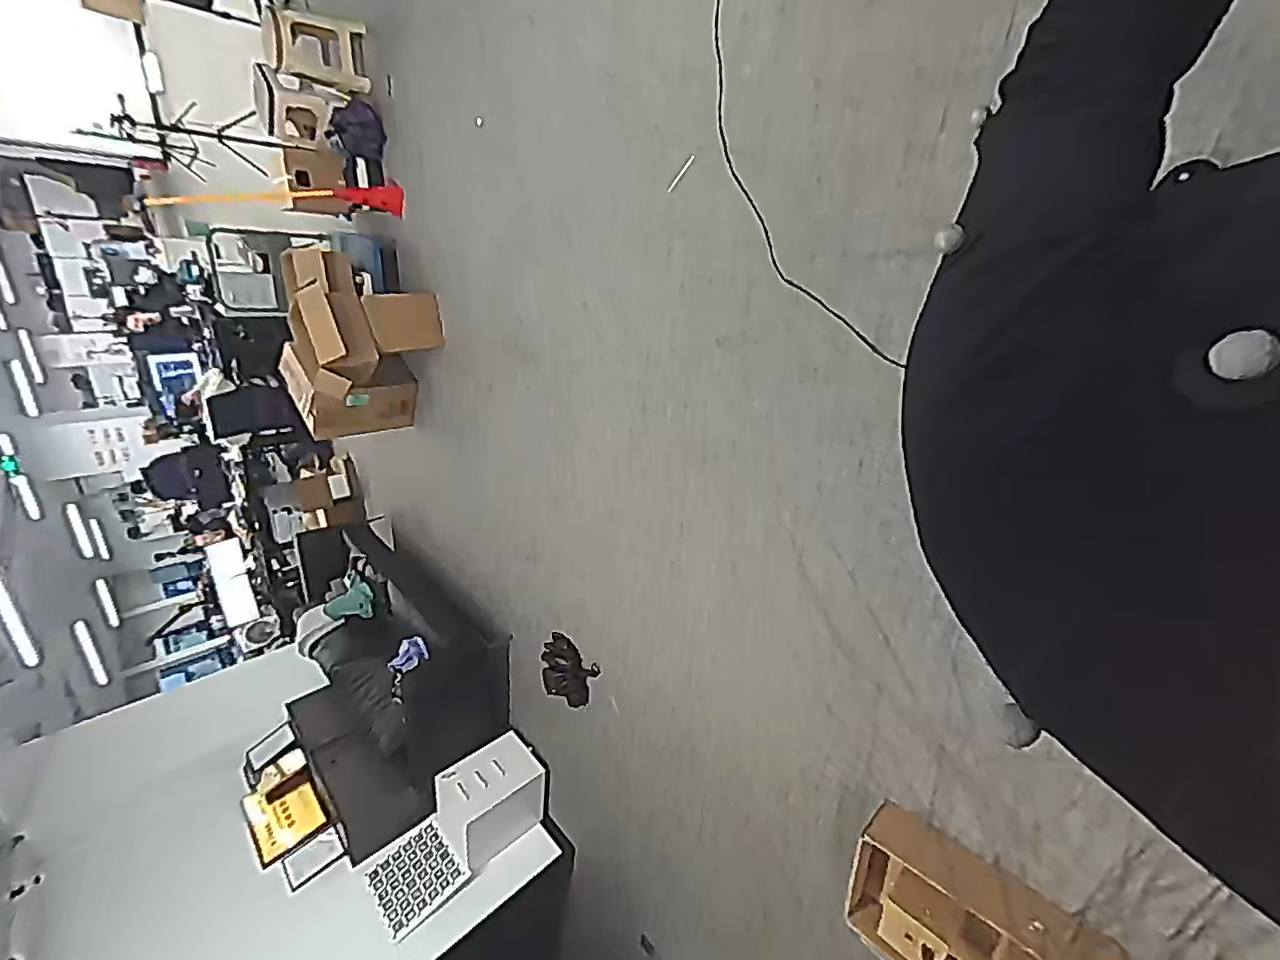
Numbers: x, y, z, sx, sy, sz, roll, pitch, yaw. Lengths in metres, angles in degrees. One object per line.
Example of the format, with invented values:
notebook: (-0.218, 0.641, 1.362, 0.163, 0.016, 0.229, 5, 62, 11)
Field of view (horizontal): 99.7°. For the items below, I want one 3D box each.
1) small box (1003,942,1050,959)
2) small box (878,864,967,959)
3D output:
small box: (1.035, 1.368, 1.410, 0.179, 0.176, 0.168, 17, 116, 45)
small box: (0.838, 1.300, 1.600, 0.179, 0.176, 0.168, 21, 118, 42)
